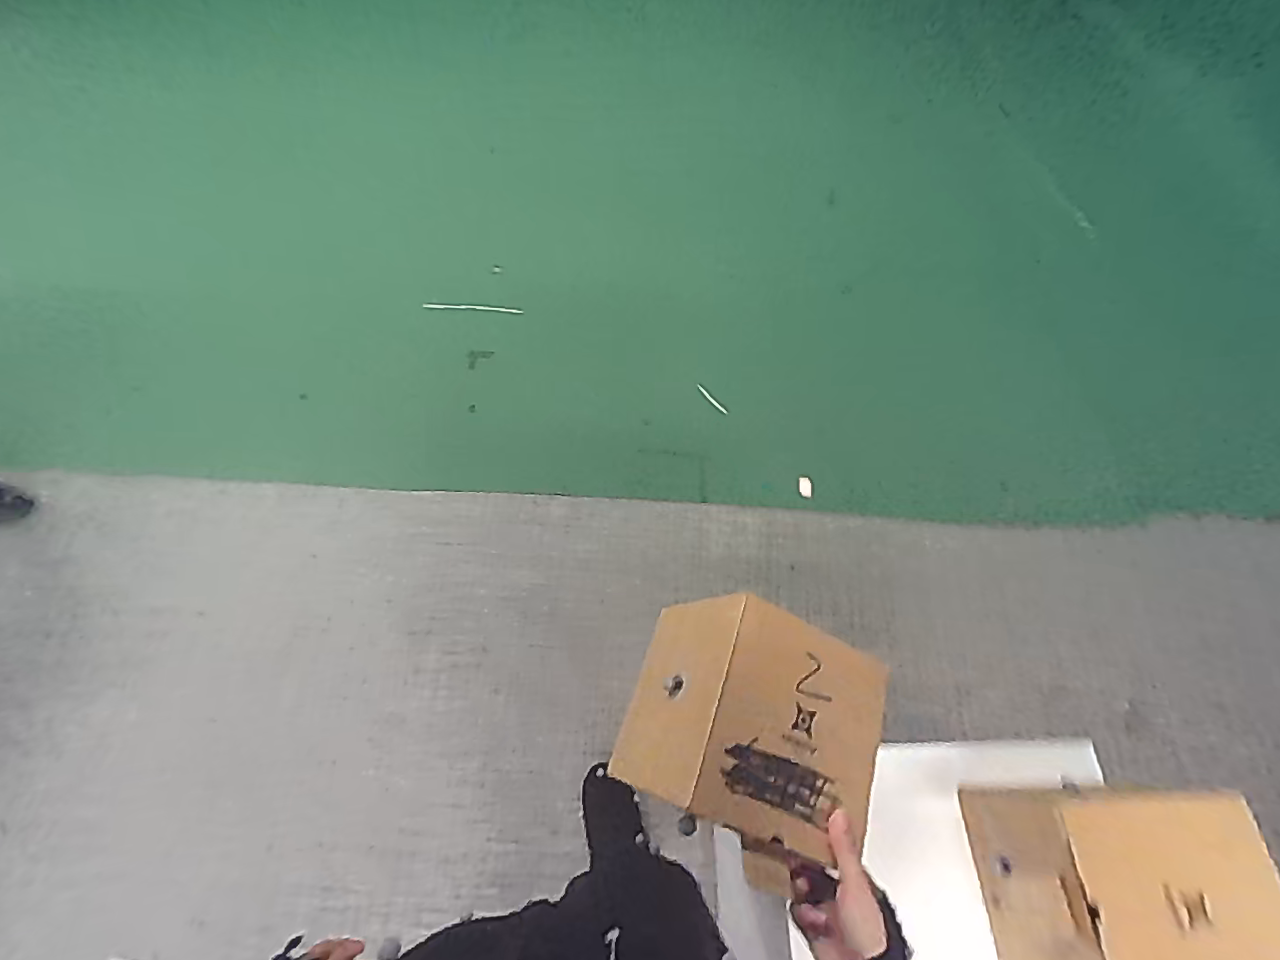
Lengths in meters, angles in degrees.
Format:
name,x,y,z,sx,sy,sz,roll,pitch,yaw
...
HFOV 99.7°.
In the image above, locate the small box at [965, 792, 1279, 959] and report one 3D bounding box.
name,x,y,z,sx,sy,sz,roll,pitch,yaw
small box,0.459,0.401,0.519,0.179,0.176,0.168,-2,64,0
